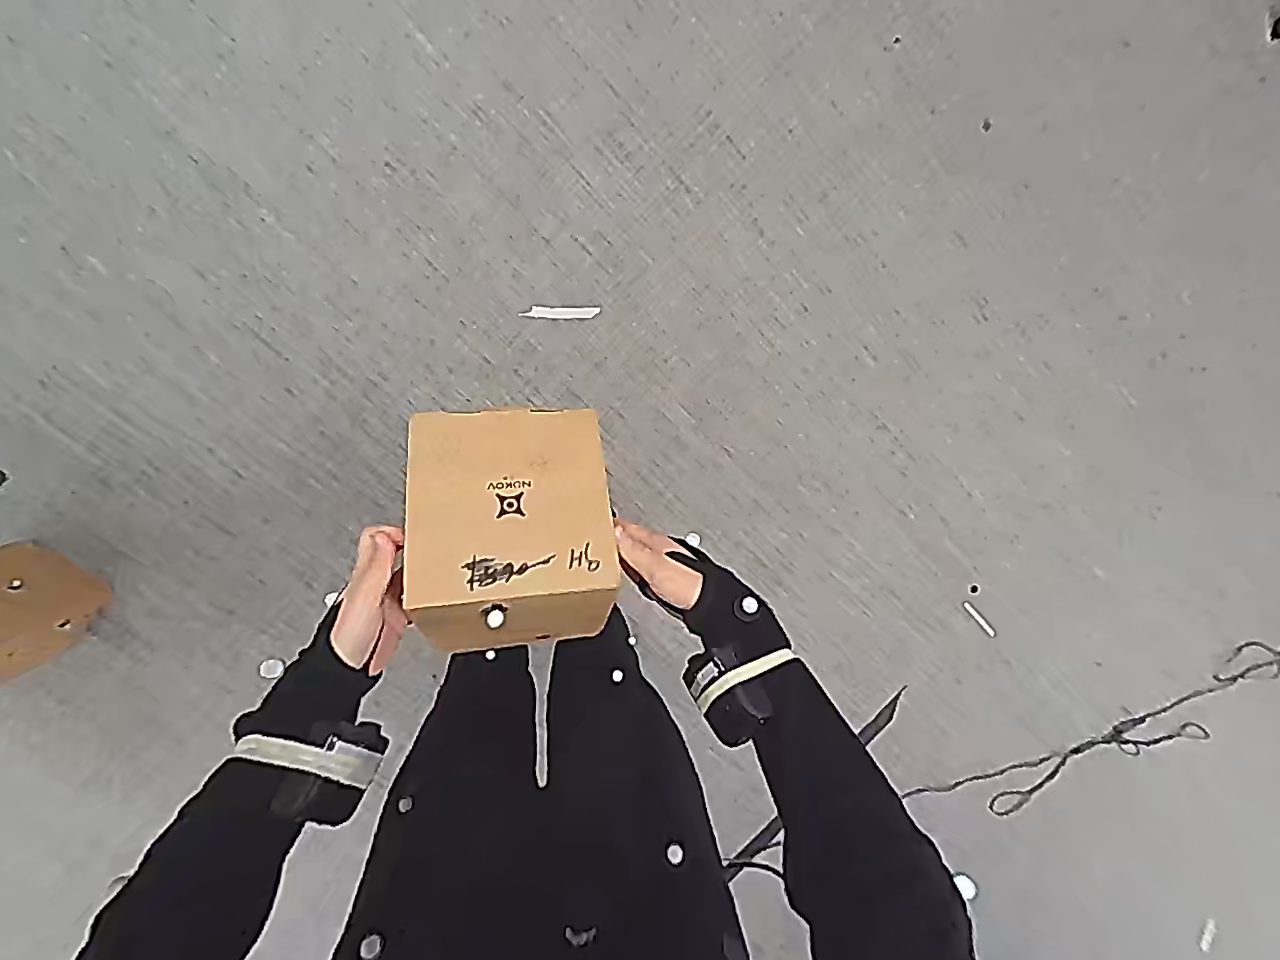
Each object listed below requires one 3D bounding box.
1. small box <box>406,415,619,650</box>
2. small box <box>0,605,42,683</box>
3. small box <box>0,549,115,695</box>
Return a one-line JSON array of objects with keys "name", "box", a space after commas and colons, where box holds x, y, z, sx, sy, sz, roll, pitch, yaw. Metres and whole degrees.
[{"name": "small box", "box": [-0.121, 0.055, 0.526, 0.168, 0.176, 0.179, -2, 63, -12]}, {"name": "small box", "box": [-1.122, 0.277, 0.838, 0.179, 0.176, 0.168, 39, 92, -13]}, {"name": "small box", "box": [-1.152, 0.252, 0.998, 0.179, 0.176, 0.168, 38, 92, -12]}]
